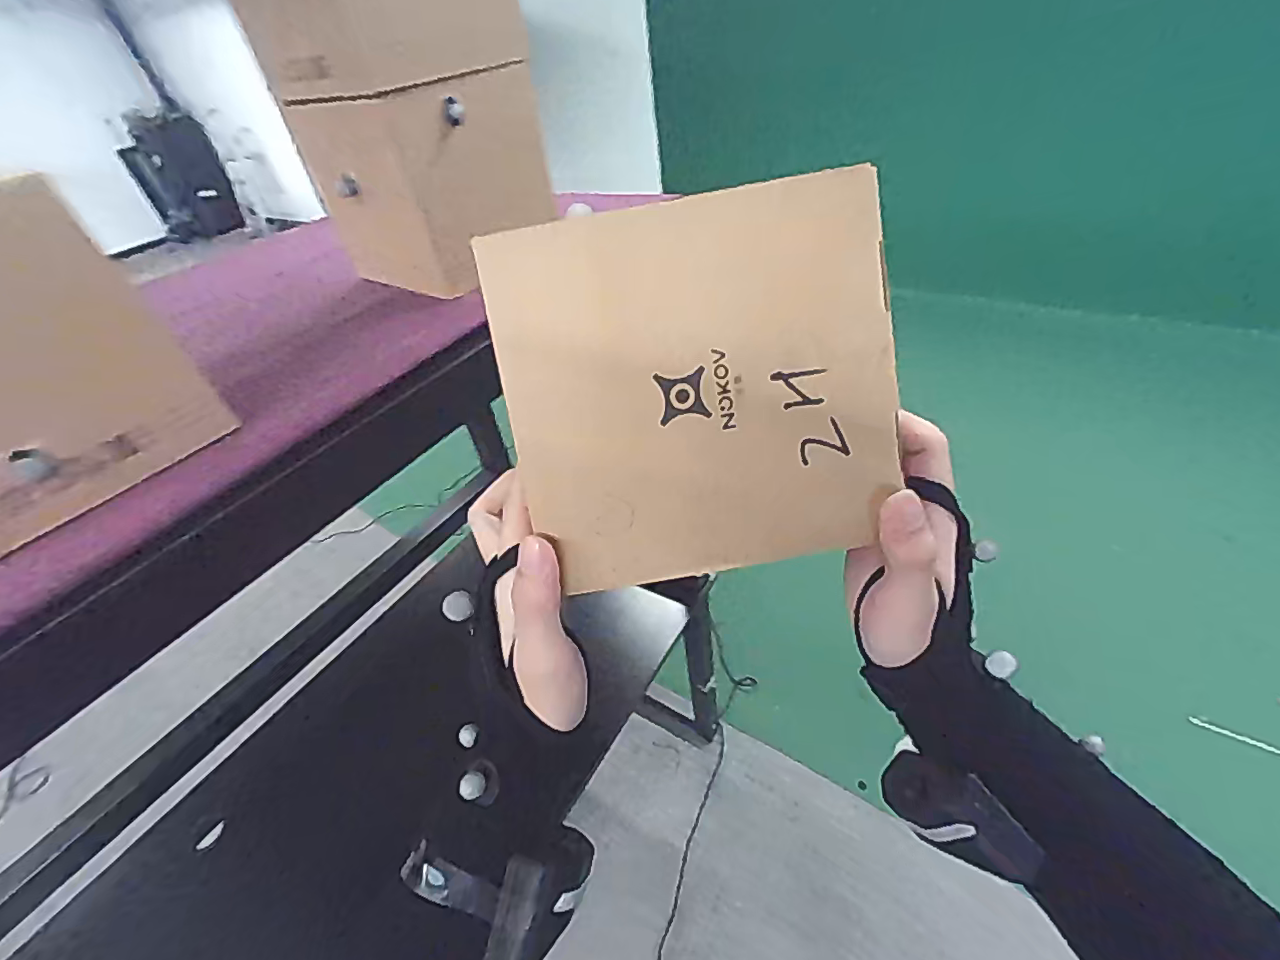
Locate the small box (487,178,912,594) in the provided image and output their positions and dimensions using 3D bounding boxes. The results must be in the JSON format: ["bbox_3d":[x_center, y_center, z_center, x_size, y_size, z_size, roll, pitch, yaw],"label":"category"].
[{"bbox_3d":[0.031,-0.048,0.322,0.179,0.168,0.176,-9,9,2],"label":"small box"}]

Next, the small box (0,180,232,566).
[{"bbox_3d":[-0.412,-0.069,0.334,0.179,0.176,0.168,20,50,31],"label":"small box"}]

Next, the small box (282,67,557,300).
[{"bbox_3d":[-0.213,-0.302,0.559,0.179,0.176,0.168,21,51,32],"label":"small box"}]
